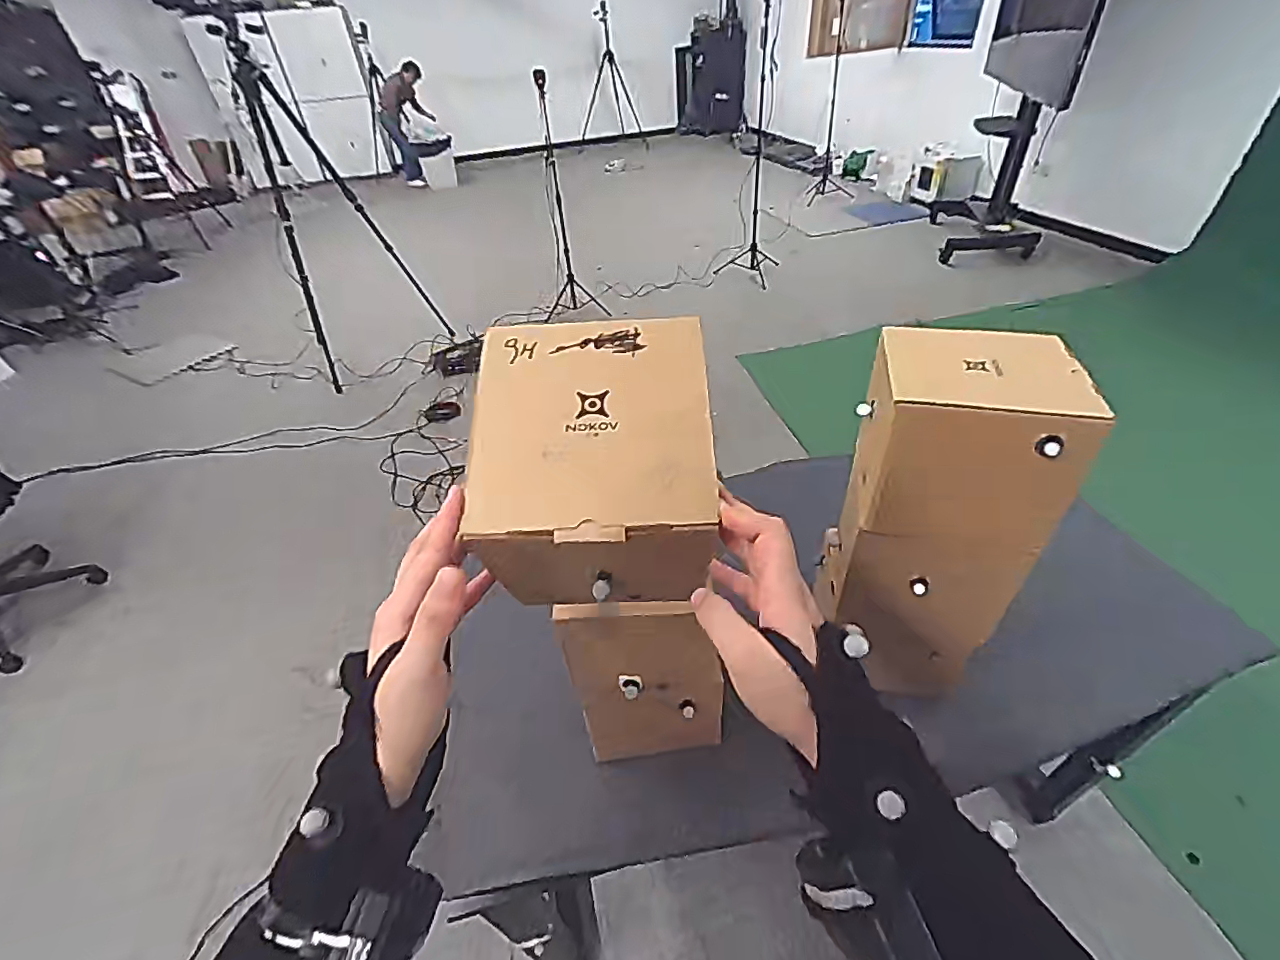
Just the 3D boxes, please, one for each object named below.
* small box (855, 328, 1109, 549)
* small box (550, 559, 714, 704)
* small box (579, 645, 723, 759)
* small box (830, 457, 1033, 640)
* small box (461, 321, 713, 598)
[{"bbox_3d":[0.332,-0.046,0.575,0.179,0.176,0.168,7,41,14],"label":"small box"},{"bbox_3d":[-0.002,0.143,0.648,0.168,0.176,0.179,-4,41,3],"label":"small box"},{"bbox_3d":[0.011,0.264,0.755,0.179,0.176,0.168,-7,39,-2],"label":"small box"},{"bbox_3d":[0.347,0.077,0.680,0.179,0.176,0.168,8,41,16],"label":"small box"},{"bbox_3d":[-0.030,-0.004,0.447,0.168,0.176,0.179,-2,63,2],"label":"small box"}]
